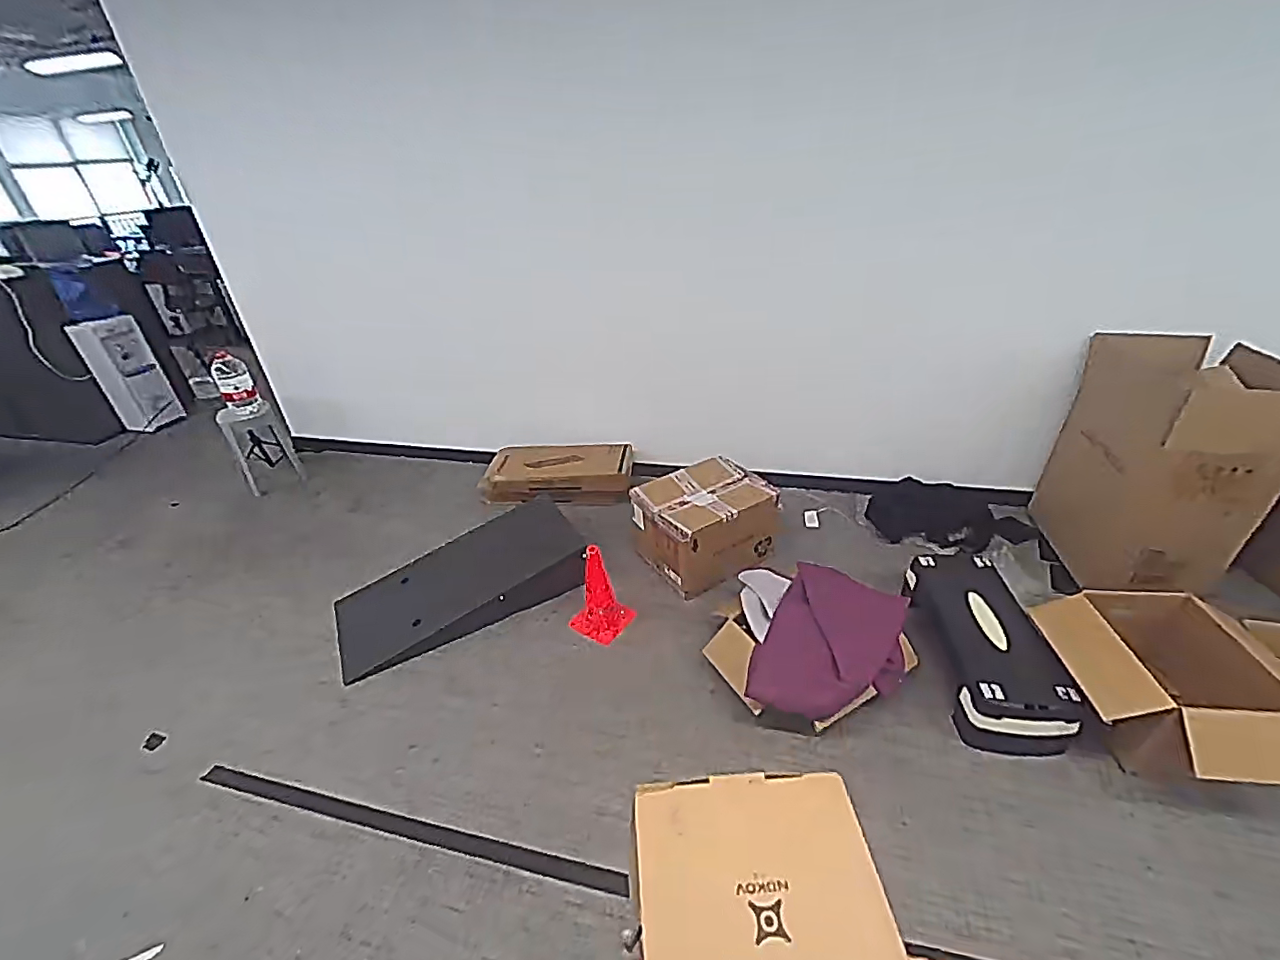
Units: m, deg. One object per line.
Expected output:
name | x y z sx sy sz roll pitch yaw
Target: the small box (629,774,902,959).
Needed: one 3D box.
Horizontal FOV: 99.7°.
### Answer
small box | 0.078 0.350 0.400 0.168 0.176 0.179 -2 36 -4
